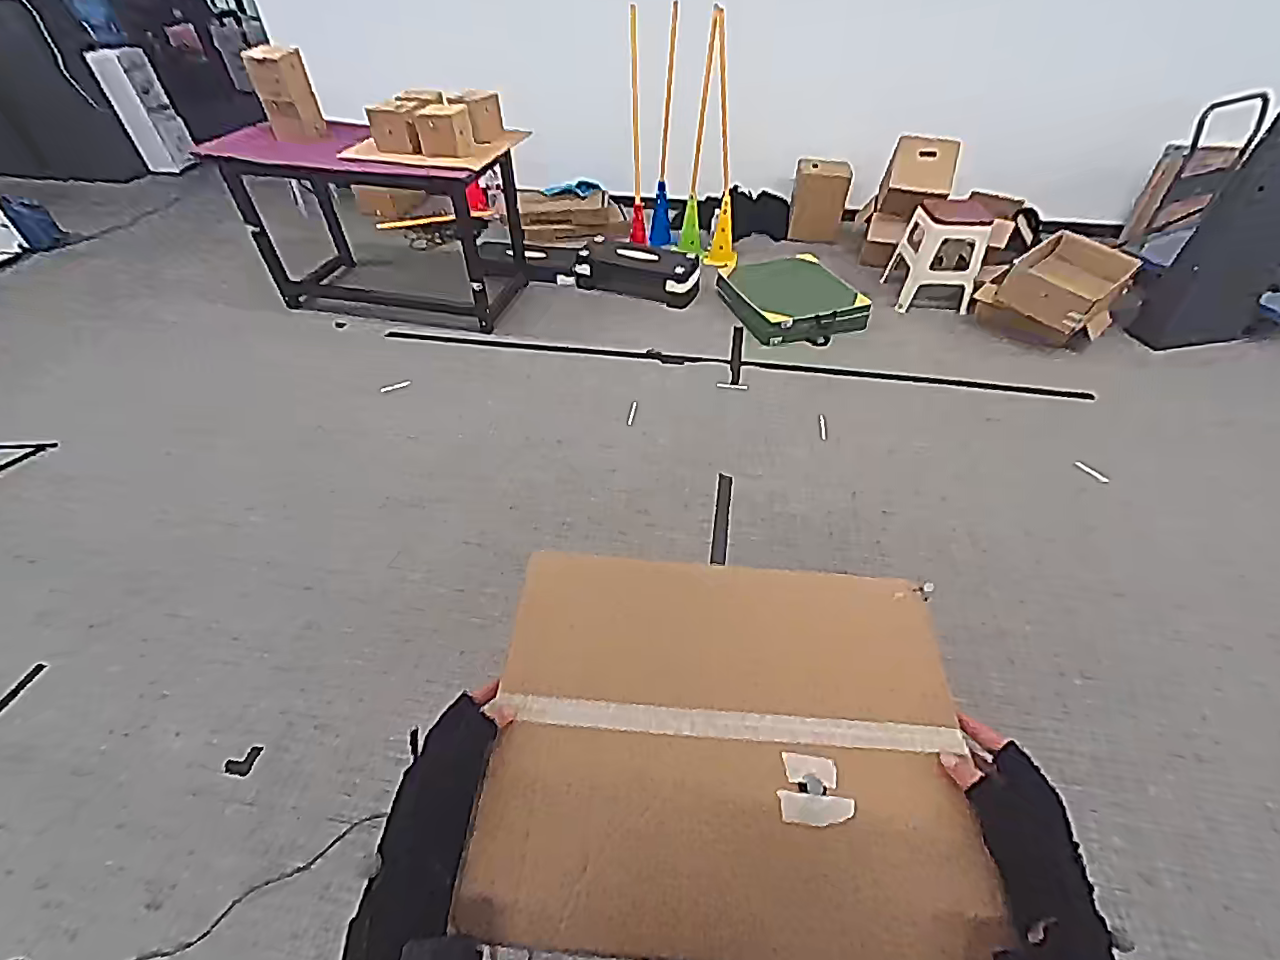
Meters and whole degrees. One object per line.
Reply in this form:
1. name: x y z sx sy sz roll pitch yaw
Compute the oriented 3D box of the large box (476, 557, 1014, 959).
1. large box: 0.078 0.306 0.599 0.408 0.320 0.320 4 53 1
